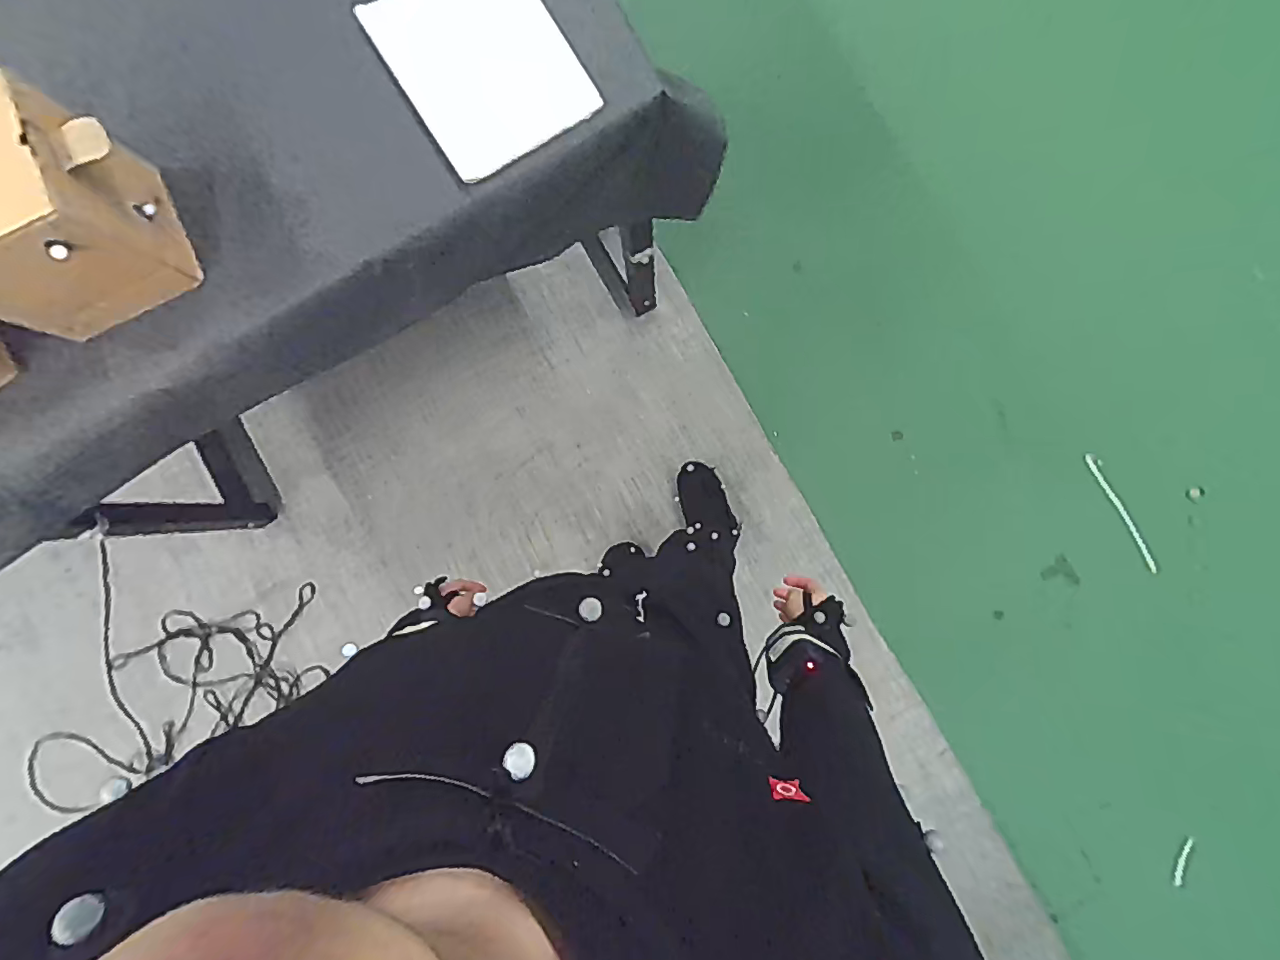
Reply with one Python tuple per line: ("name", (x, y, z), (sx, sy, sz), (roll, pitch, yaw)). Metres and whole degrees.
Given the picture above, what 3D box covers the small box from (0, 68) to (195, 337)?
("small box", (-0.654, -0.282, 0.590), (0.179, 0.176, 0.168), (-26, 86, 0))
